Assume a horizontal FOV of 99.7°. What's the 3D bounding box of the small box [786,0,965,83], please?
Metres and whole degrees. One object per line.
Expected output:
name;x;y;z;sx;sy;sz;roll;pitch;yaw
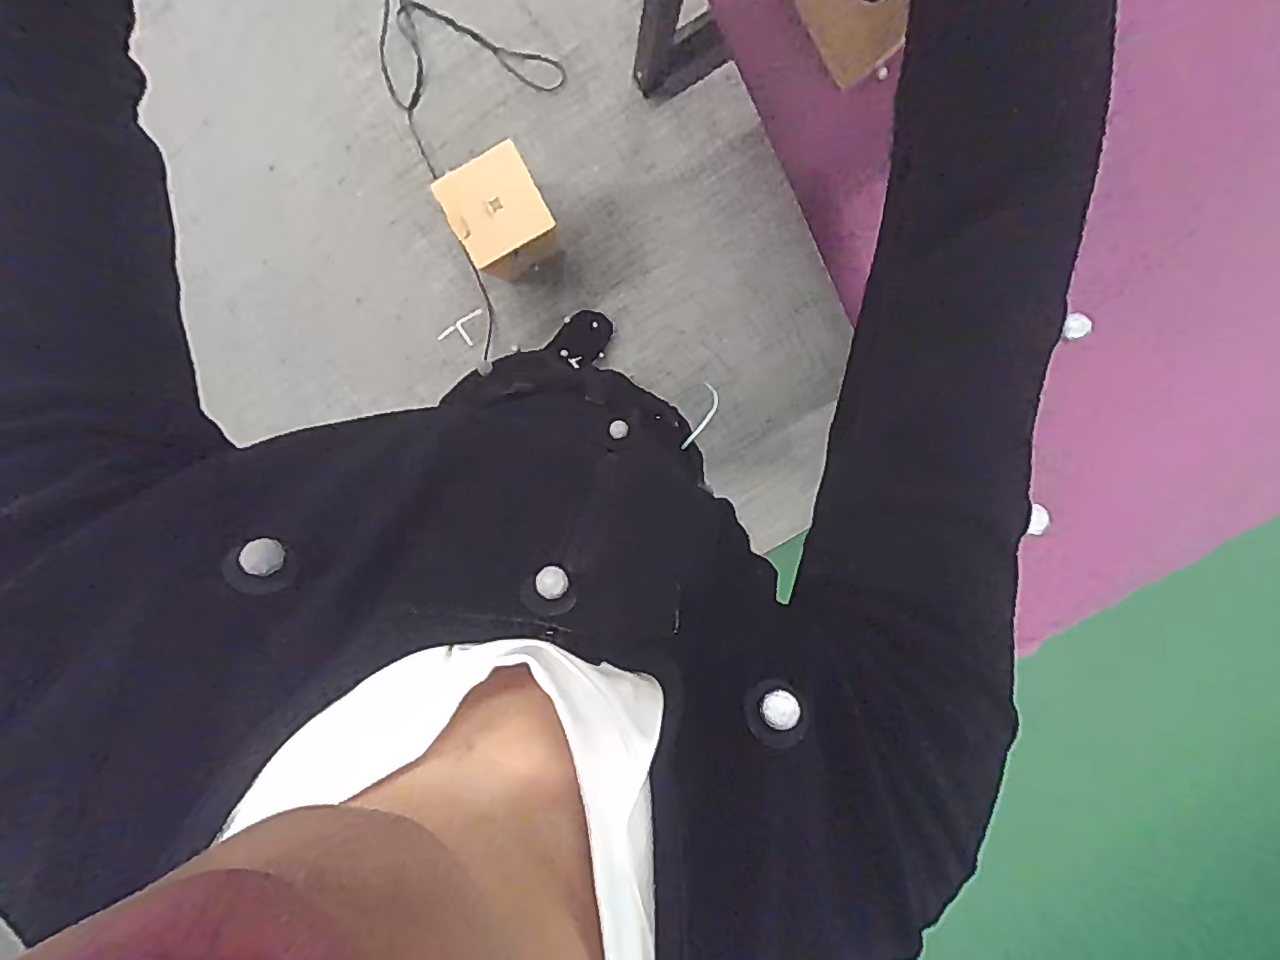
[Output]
small box;0.255;-0.539;0.532;0.168;0.176;0.179;-37;106;5
